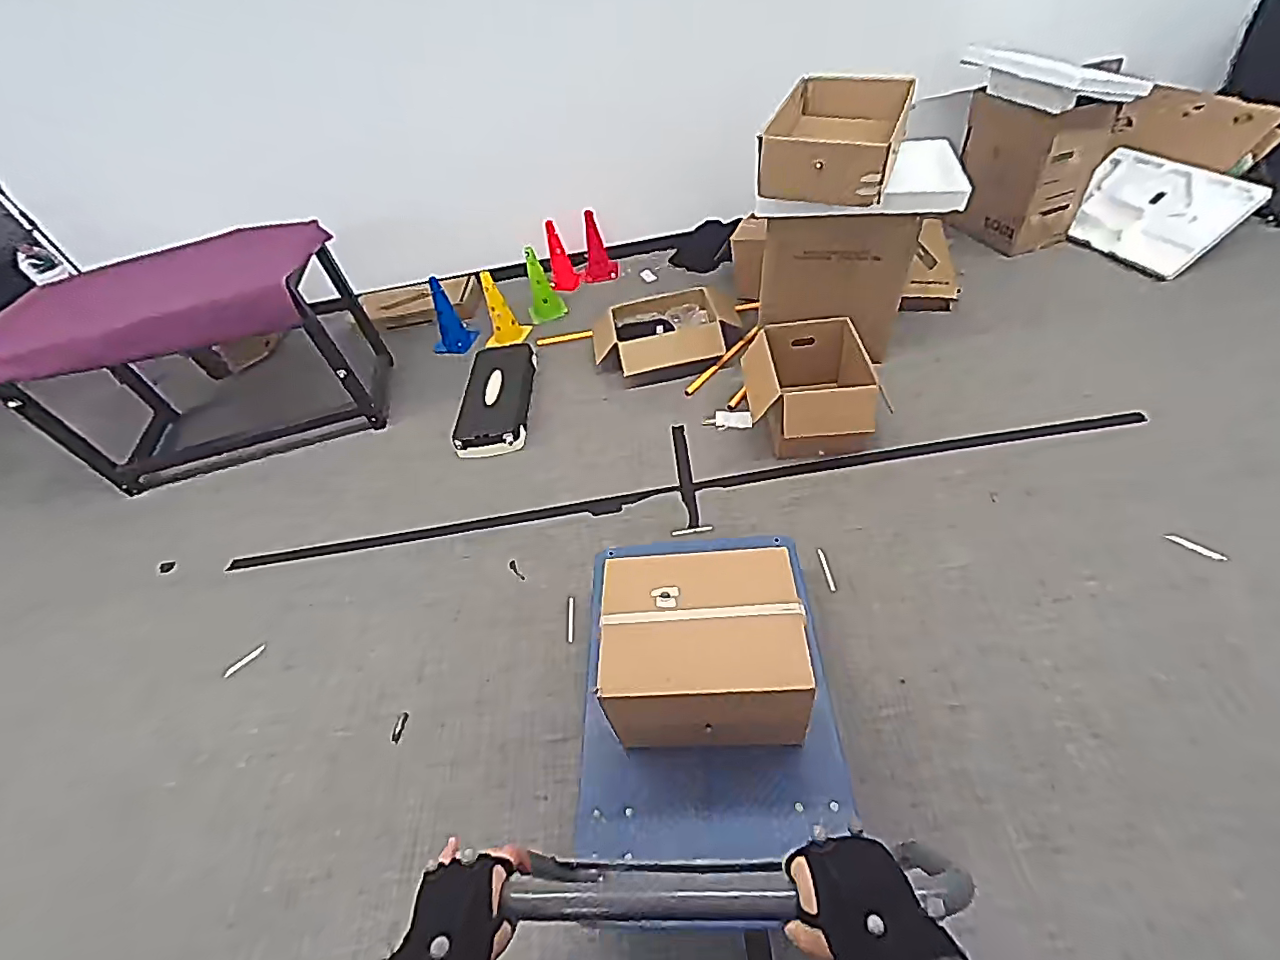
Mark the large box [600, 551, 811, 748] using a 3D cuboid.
[{"bbox_3d":[0.143,0.390,1.221,0.408,0.320,0.320,-6,46,7],"label":"large box"}]
